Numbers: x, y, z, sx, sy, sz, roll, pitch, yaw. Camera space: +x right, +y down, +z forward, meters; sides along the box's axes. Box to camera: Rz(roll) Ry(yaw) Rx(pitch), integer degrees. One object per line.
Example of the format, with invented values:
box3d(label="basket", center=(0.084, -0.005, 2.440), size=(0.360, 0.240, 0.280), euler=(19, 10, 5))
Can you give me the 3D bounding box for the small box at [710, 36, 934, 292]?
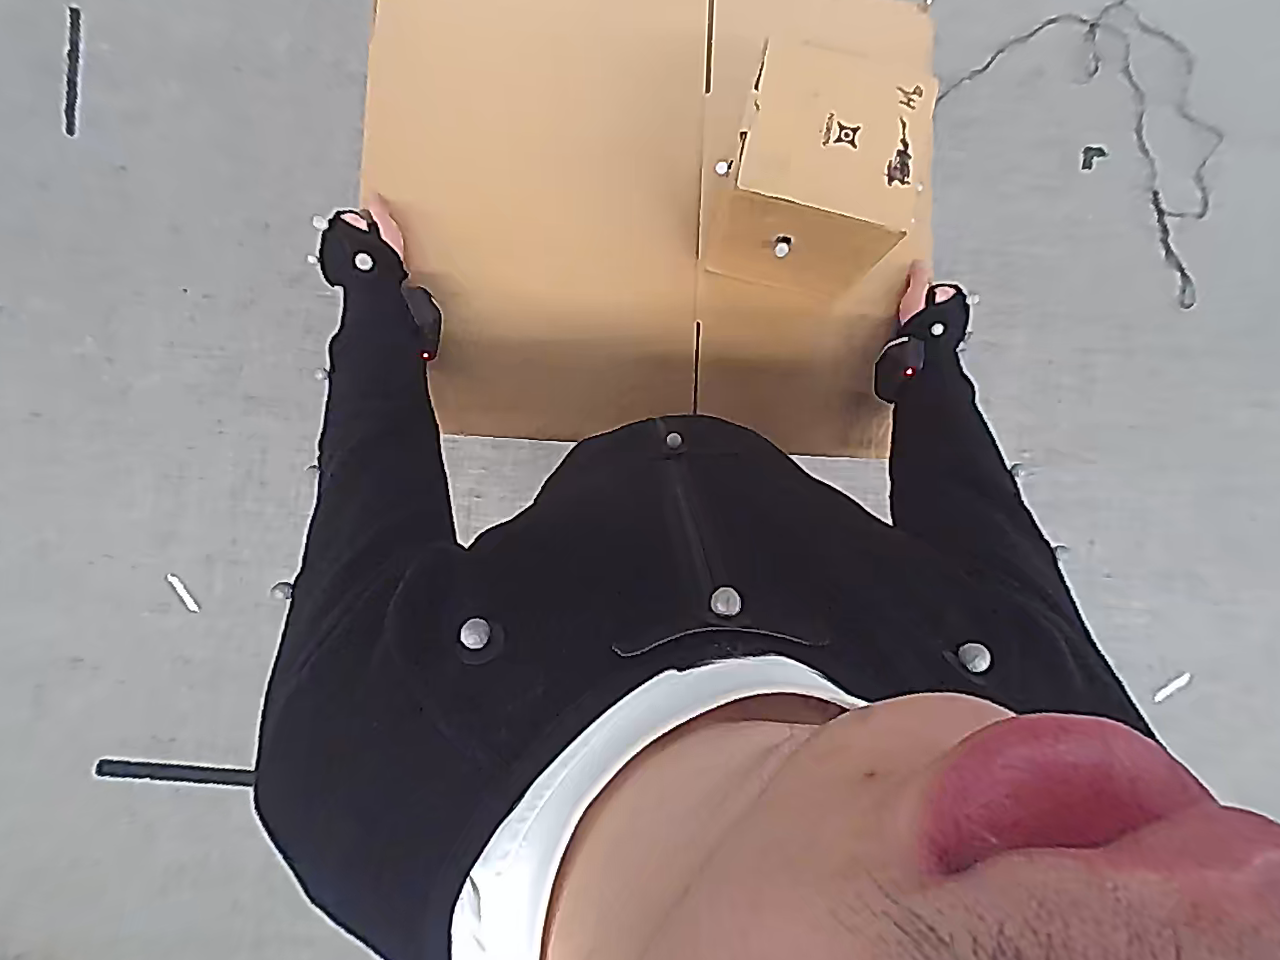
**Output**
box3d(label="small box", center=(0.186, -0.334, 0.606), size=(0.179, 0.176, 0.168), euler=(13, 86, -1))
